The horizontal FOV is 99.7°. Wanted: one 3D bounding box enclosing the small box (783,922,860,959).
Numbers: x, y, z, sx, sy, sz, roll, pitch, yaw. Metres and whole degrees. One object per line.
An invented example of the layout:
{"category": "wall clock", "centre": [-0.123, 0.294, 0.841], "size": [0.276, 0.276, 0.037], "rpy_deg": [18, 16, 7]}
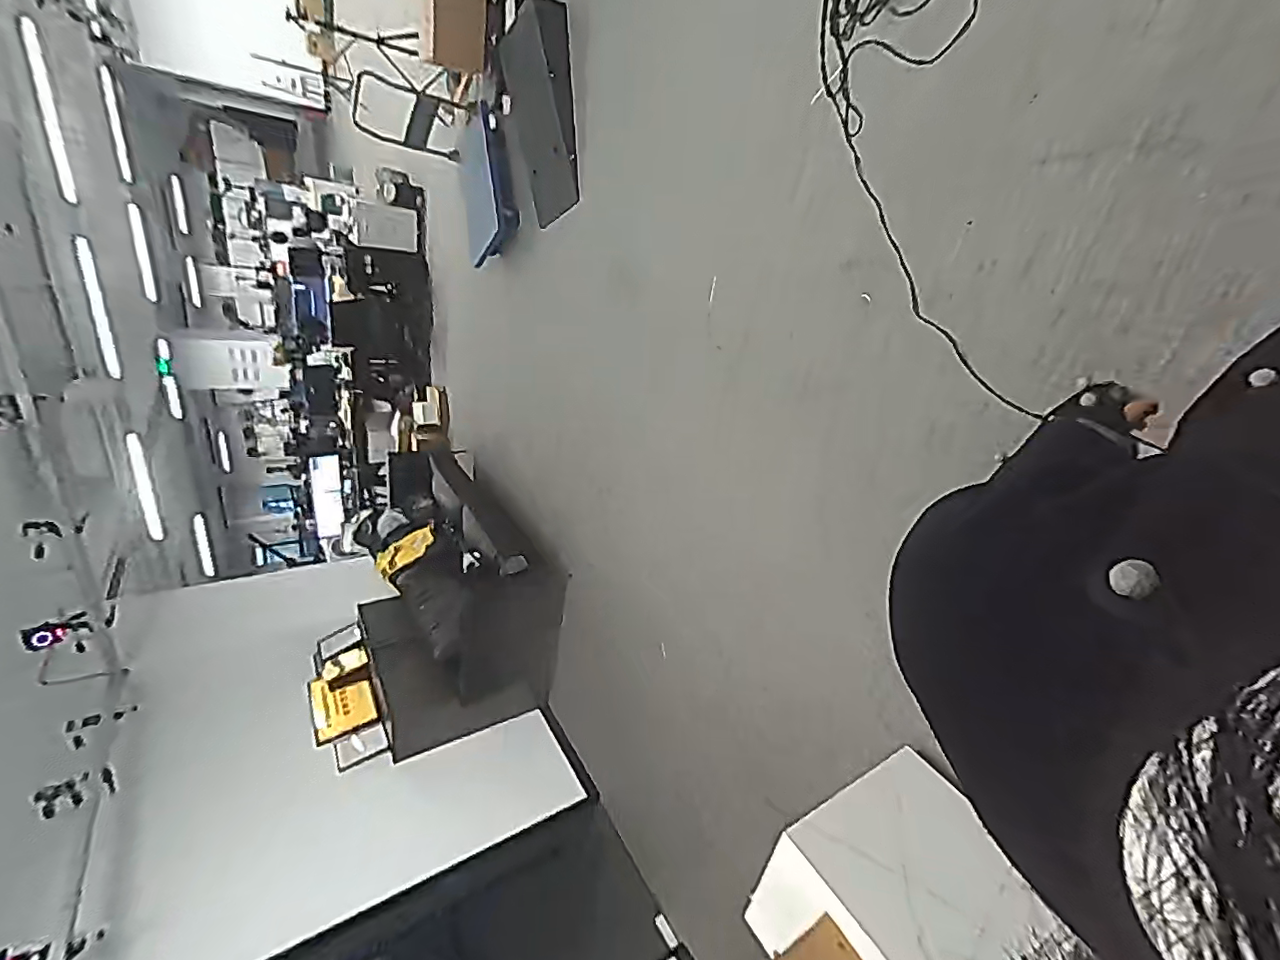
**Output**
{"category": "small box", "centre": [0.392, 1.116, 1.164], "size": [0.168, 0.176, 0.179], "rpy_deg": [42, 131, 44]}
